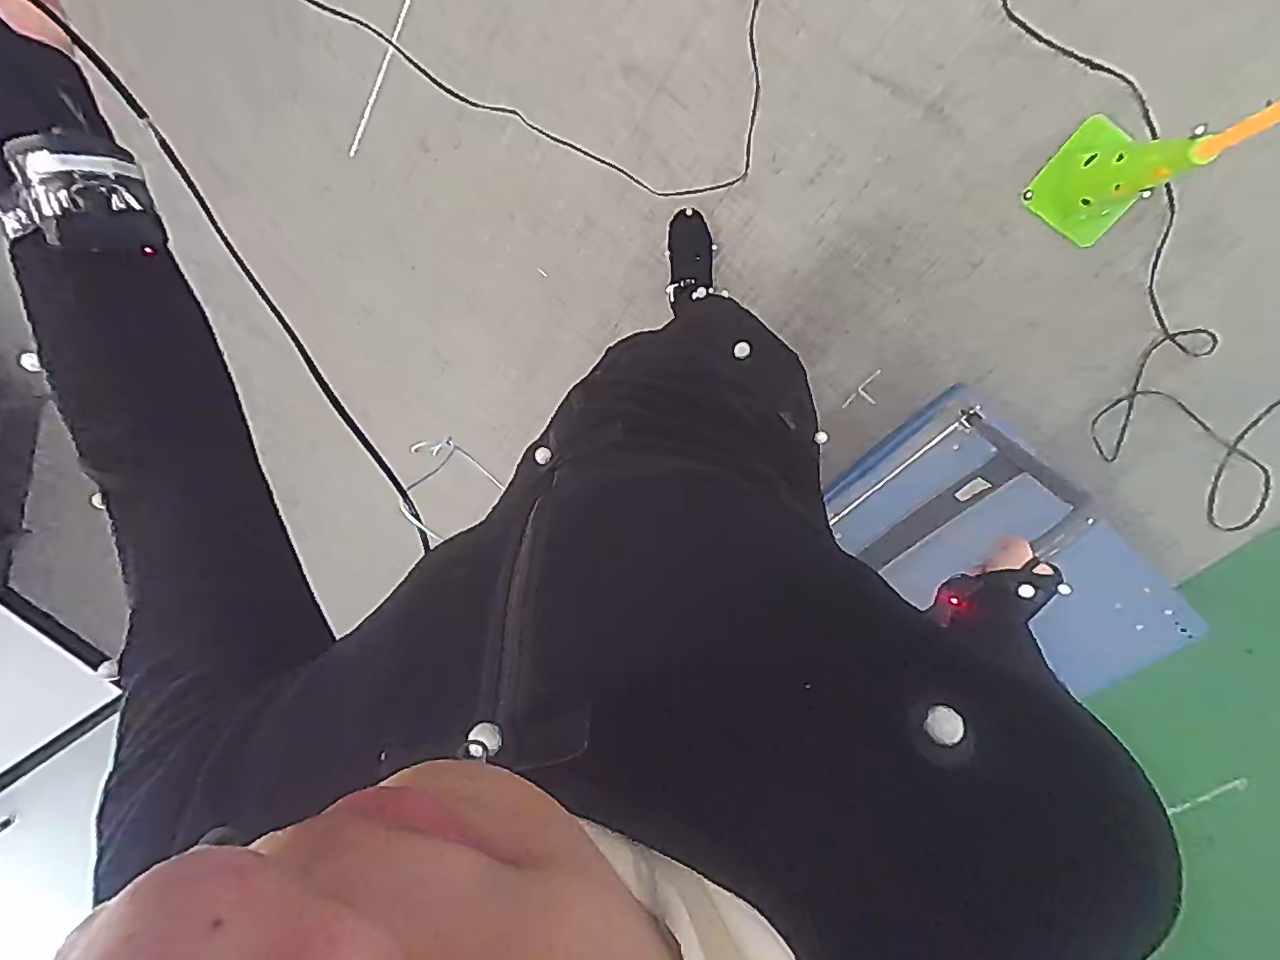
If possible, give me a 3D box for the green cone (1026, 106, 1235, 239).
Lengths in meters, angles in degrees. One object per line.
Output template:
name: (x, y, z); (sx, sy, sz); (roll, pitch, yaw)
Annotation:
green cone: (0.943, -0.598, 1.009); (0.200, 0.368, 0.202); (35, 114, -2)
